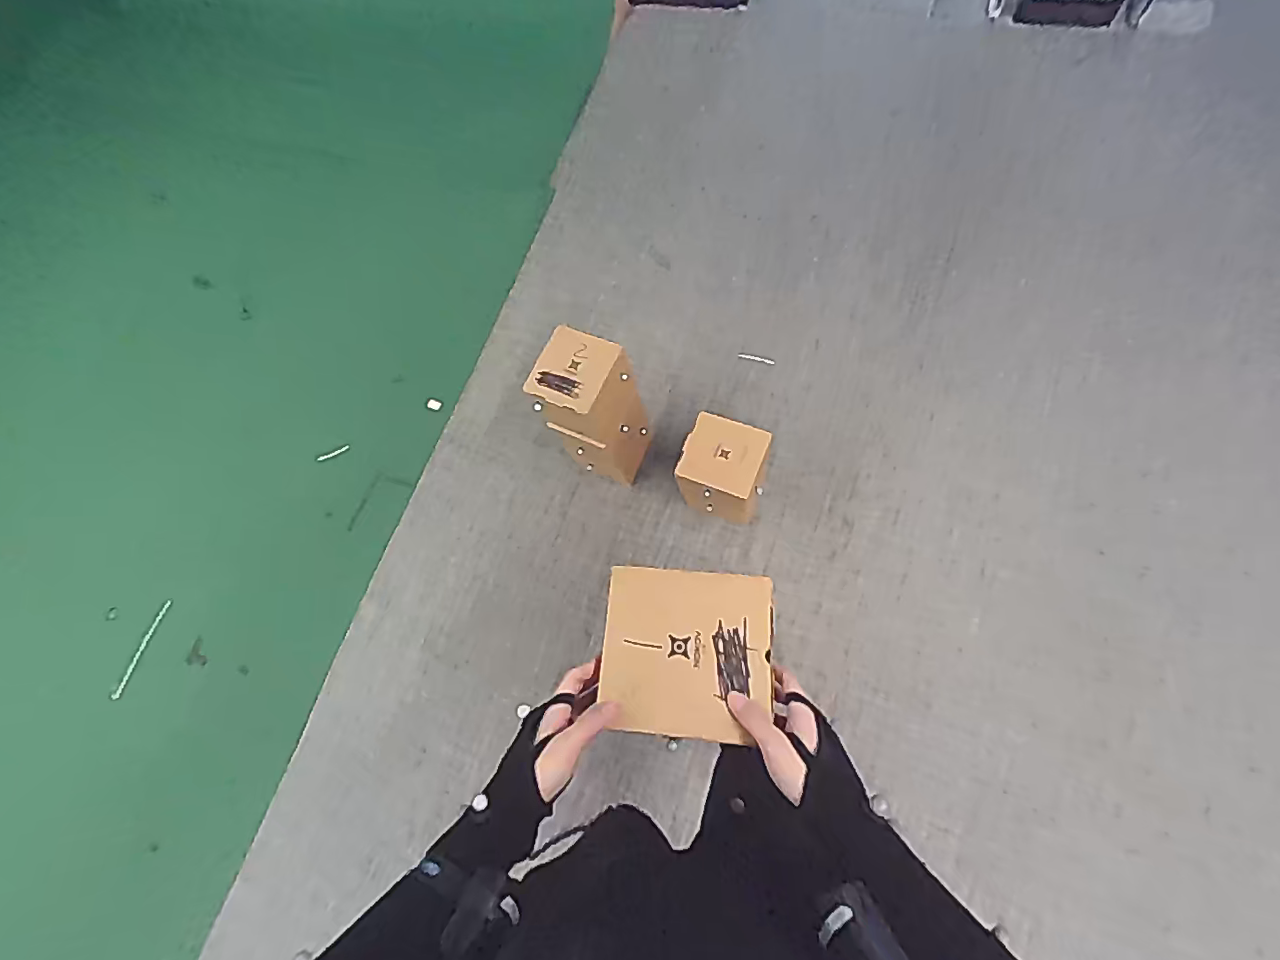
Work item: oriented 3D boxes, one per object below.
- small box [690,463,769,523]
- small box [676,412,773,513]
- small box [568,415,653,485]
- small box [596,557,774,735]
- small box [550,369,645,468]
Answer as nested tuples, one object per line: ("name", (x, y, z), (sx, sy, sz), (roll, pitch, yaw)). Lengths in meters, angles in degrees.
("small box", (0.236, 0.004, 1.448), (0.179, 0.176, 0.168), (18, 77, 16))
("small box", (0.204, -0.034, 1.292), (0.179, 0.176, 0.168), (20, 78, 15))
("small box", (-0.075, -0.104, 1.542), (0.168, 0.176, 0.179), (21, 77, 17))
("small box", (0.053, 0.199, 0.633), (0.179, 0.176, 0.168), (4, 65, 5))
("small box", (-0.100, -0.151, 1.387), (0.168, 0.176, 0.179), (22, 77, 16))
